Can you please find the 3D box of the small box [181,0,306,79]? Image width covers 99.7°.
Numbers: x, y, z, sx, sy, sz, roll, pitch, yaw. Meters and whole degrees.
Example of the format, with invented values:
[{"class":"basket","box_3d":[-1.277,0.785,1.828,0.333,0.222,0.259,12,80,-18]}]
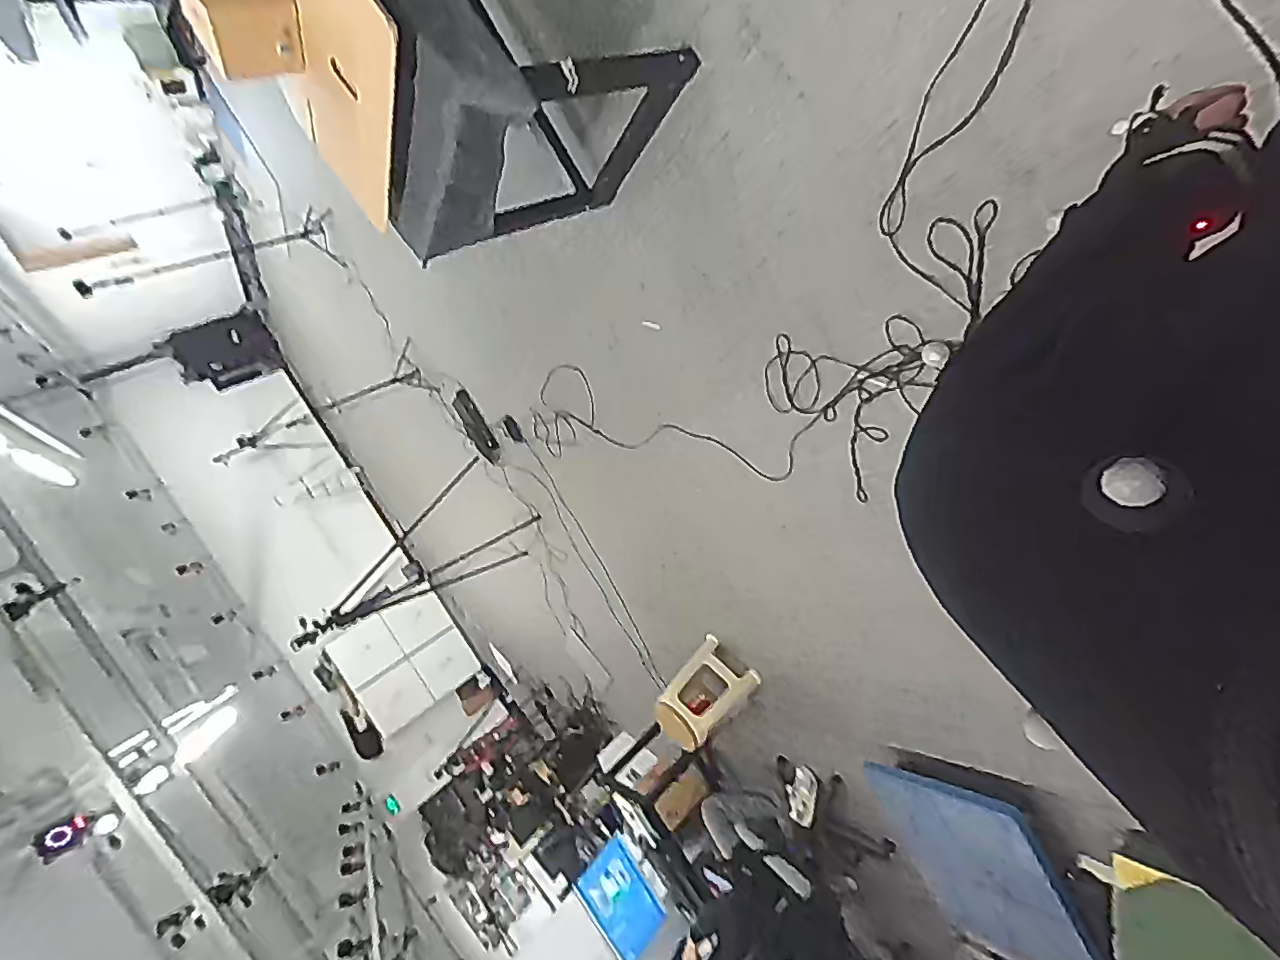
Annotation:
[{"class":"small box","box_3d":[-0.834,-0.988,1.126,0.179,0.176,0.168,57,152,-2]}]
